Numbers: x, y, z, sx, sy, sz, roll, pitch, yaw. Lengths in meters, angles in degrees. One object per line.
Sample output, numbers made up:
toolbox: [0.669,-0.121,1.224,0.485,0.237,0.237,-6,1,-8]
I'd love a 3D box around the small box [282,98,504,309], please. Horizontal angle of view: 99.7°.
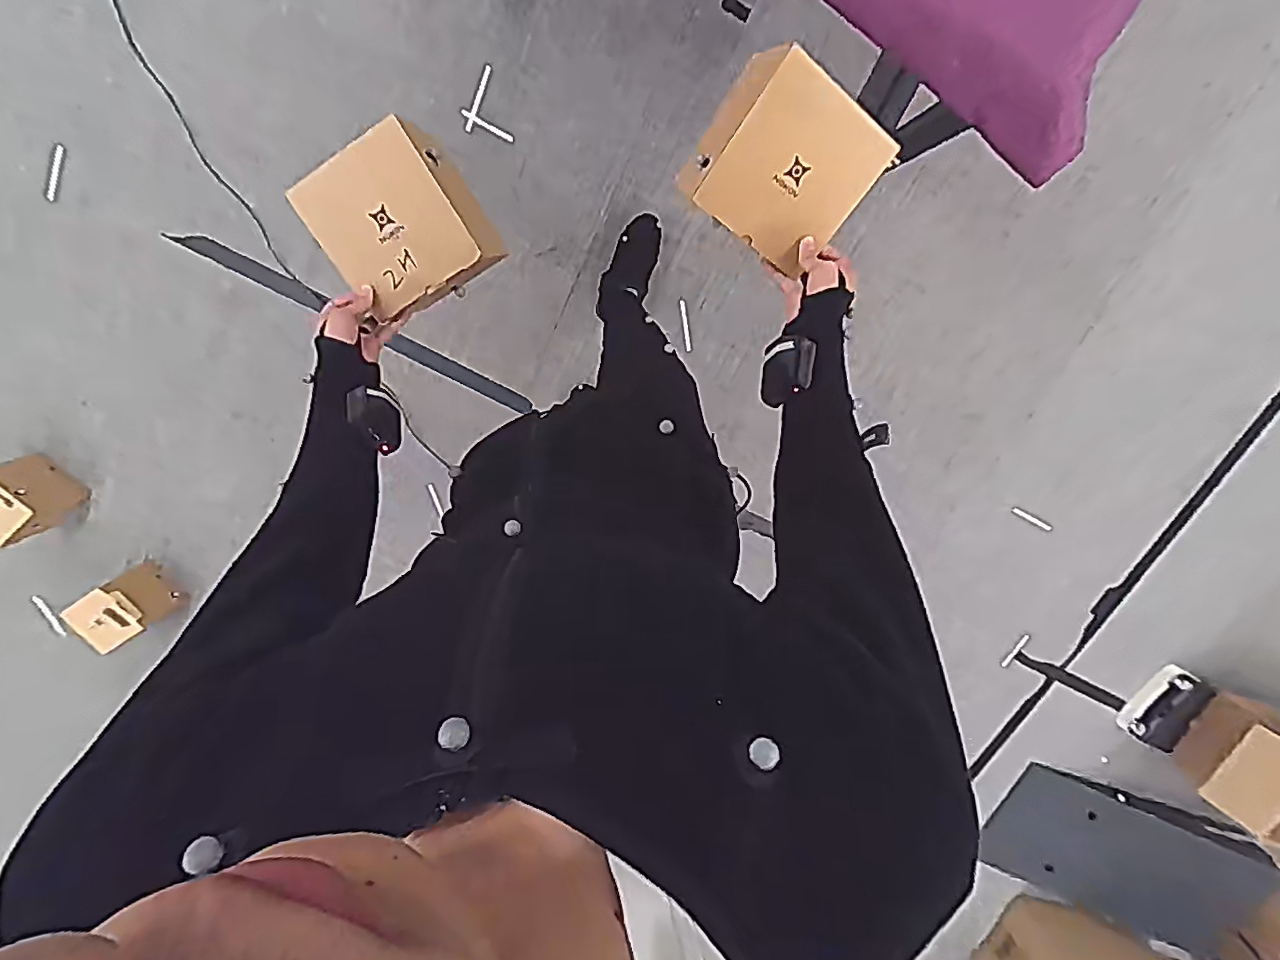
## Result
small box: [-0.306,-0.350,0.712,0.168,0.176,0.179,-27,112,10]

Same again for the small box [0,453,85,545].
small box: [-1.739,0.051,1.514,0.179,0.176,0.168,-37,105,10]

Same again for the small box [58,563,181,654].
small box: [-1.542,0.377,1.622,0.179,0.176,0.168,-31,106,8]

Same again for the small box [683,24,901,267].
small box: [0.168,-0.402,0.661,0.168,0.176,0.179,28,120,-21]

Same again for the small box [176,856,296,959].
small box: [-1.064,1.156,1.438,0.168,0.176,0.179,34,106,-13]
